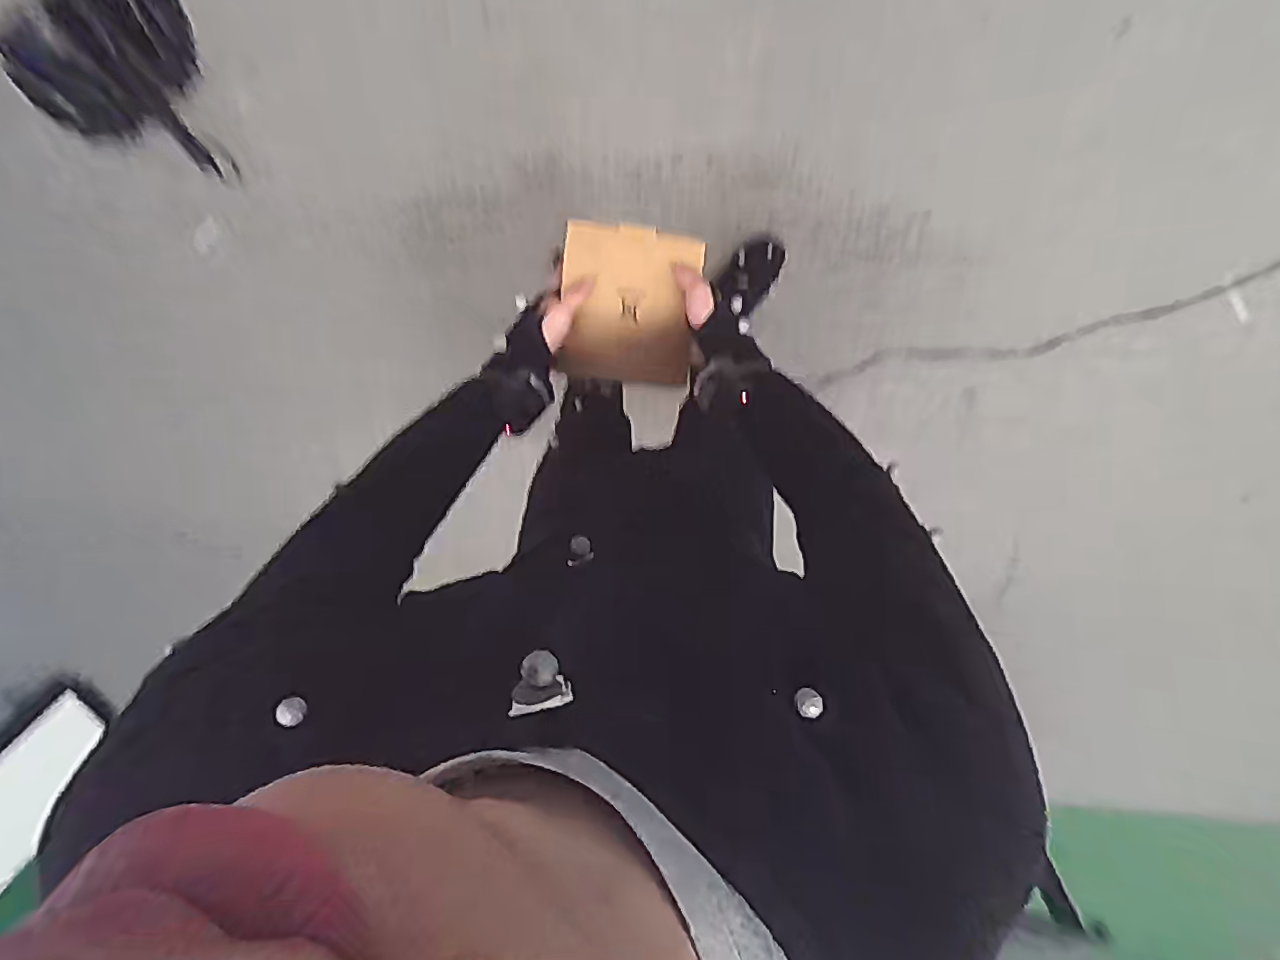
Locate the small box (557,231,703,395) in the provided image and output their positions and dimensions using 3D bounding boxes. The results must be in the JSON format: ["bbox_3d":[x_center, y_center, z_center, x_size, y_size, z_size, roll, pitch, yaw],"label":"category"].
[{"bbox_3d":[-0.020,-0.213,0.735,0.168,0.176,0.179,6,99,-6],"label":"small box"}]
